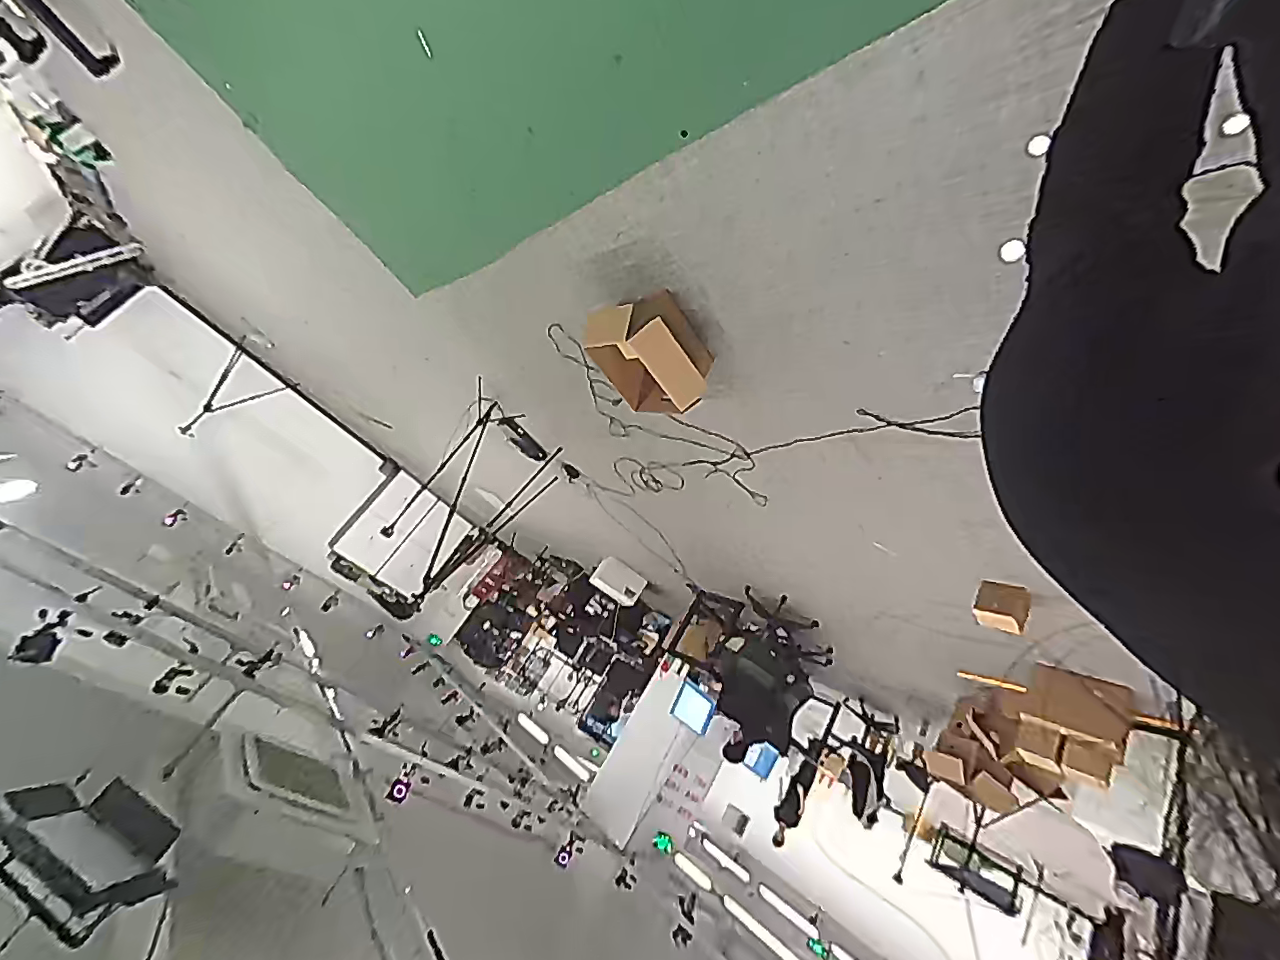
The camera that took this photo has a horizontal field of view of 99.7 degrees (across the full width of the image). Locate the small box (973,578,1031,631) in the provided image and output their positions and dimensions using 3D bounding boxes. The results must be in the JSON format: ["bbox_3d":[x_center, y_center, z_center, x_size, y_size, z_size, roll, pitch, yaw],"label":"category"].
[{"bbox_3d":[1.728,0.587,2.575,0.179,0.176,0.168,4,144,51],"label":"small box"}]
